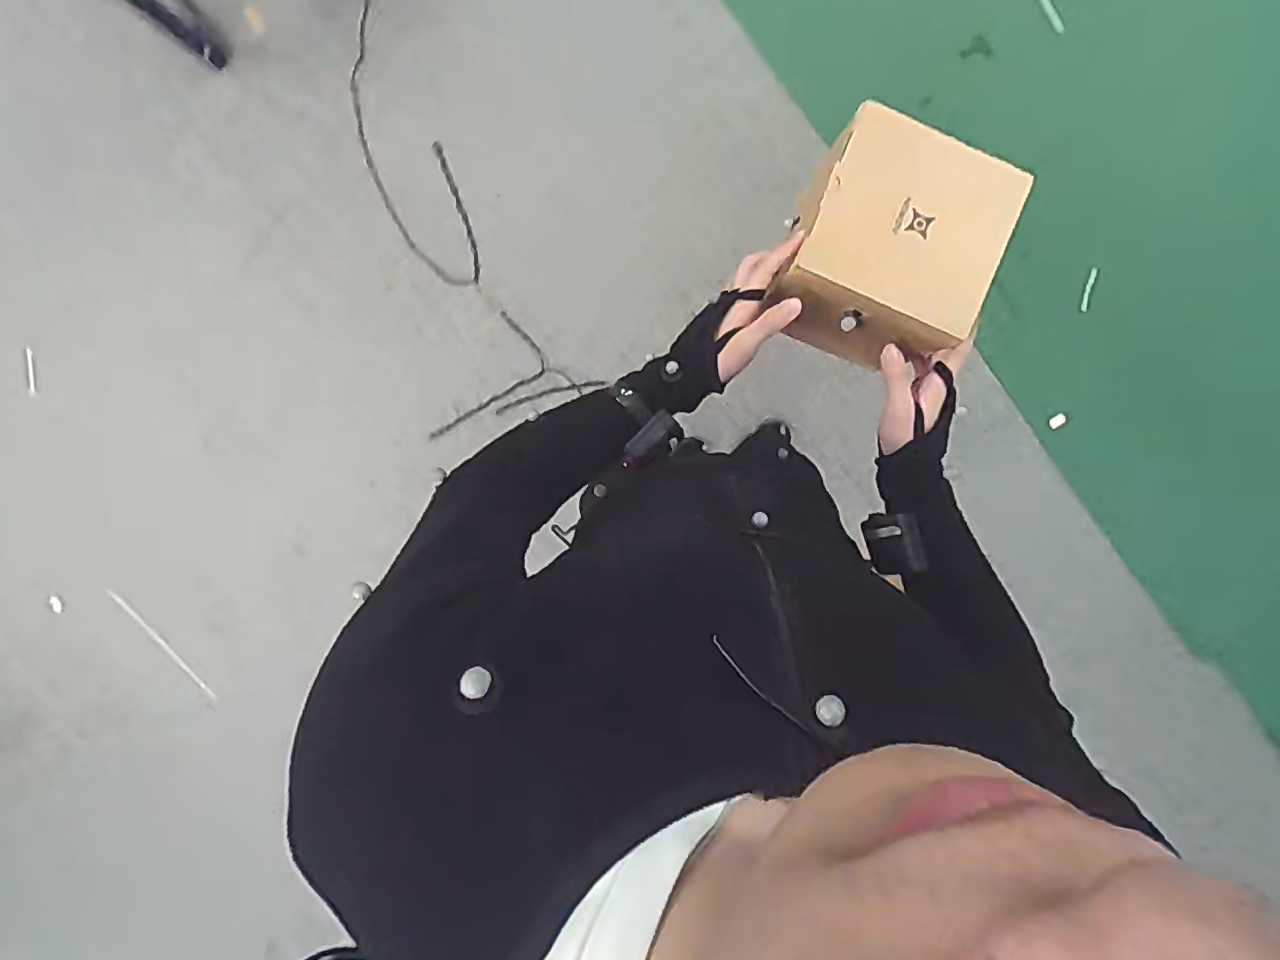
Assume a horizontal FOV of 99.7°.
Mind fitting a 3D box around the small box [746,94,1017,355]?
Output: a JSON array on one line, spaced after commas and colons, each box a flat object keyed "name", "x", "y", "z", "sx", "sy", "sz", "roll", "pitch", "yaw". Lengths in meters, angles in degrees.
[{"name": "small box", "x": 0.235, "y": -0.246, "z": 0.572, "sx": 0.179, "sy": 0.176, "sz": 0.168, "roll": 21, "pitch": 89, "yaw": -1}]

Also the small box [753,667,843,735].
[{"name": "small box", "x": 0.462, "y": 0.694, "z": 1.610, "sx": 0.179, "sy": 0.176, "sz": 0.168, "roll": -37, "pitch": 94, "yaw": 5}]

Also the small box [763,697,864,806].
[{"name": "small box", "x": 0.454, "y": 0.712, "z": 1.448, "sx": 0.168, "sy": 0.176, "sz": 0.179, "roll": -36, "pitch": 95, "yaw": 5}]
